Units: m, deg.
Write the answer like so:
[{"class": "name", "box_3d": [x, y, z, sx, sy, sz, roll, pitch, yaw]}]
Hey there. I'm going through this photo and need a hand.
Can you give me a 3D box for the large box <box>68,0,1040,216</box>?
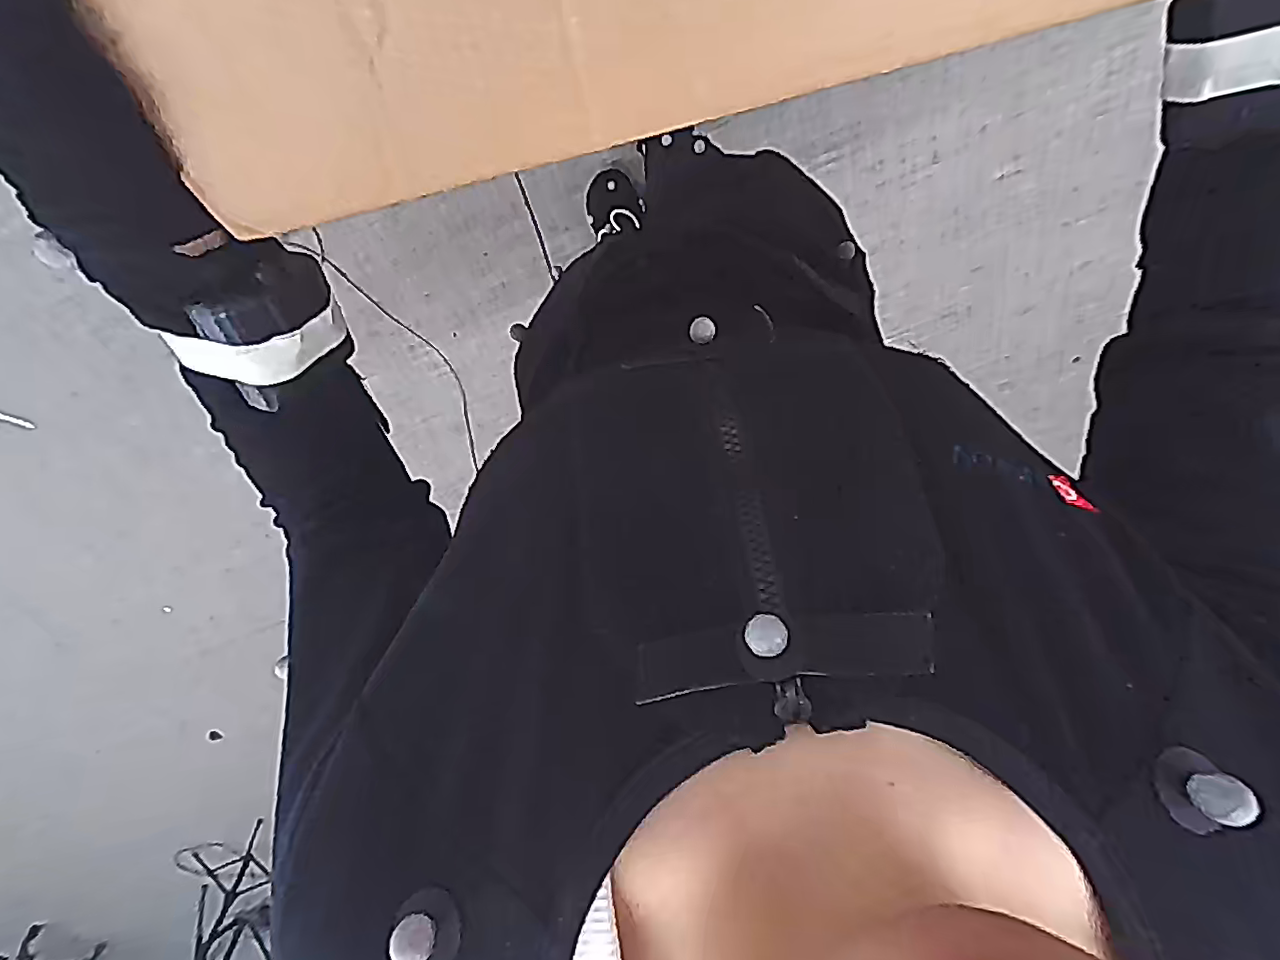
[{"class": "large box", "box_3d": [-0.031, -0.367, 0.198, 0.408, 0.320, 0.320, -12, 142, 5]}]
